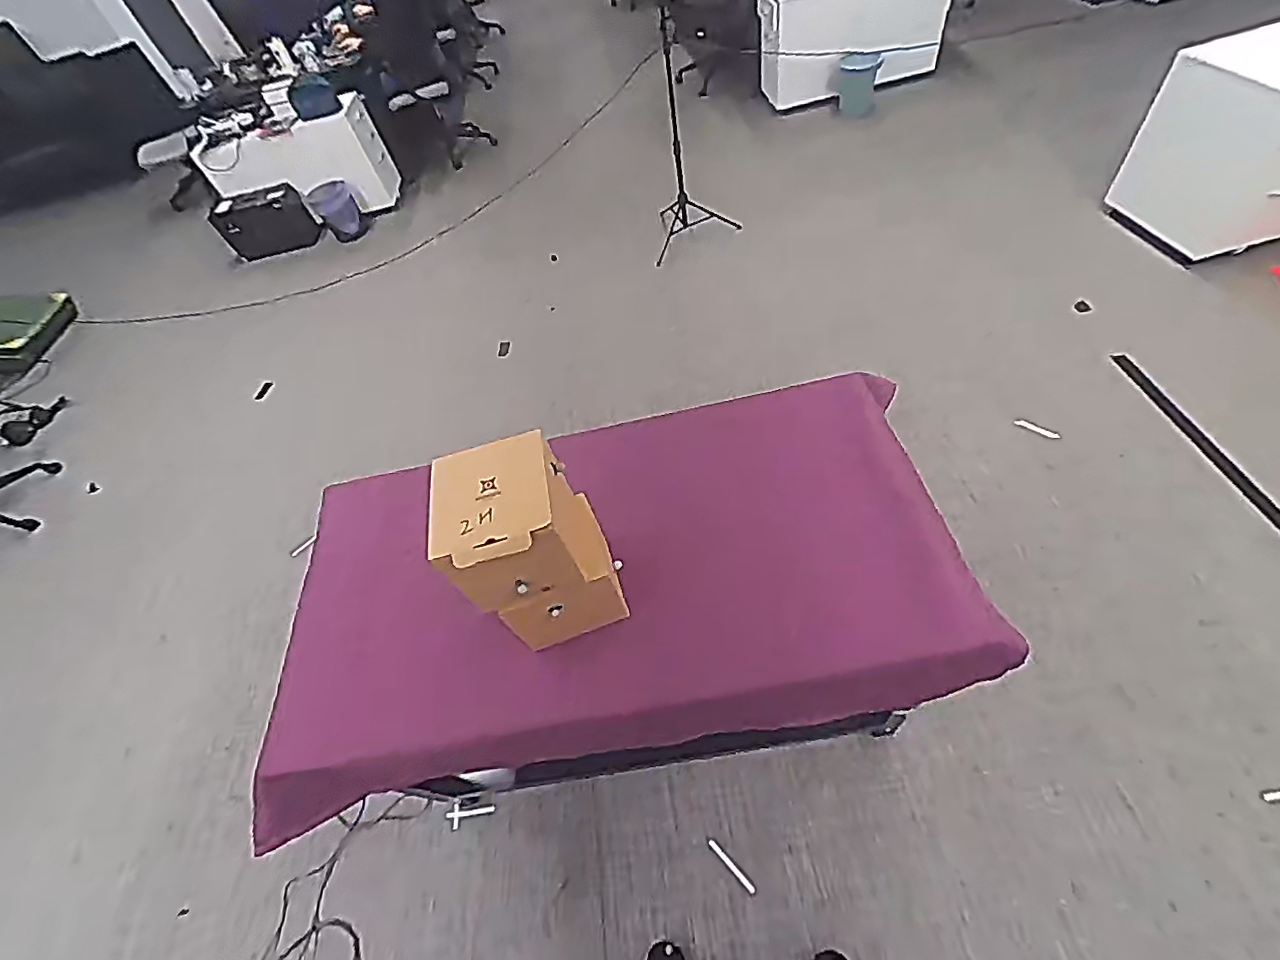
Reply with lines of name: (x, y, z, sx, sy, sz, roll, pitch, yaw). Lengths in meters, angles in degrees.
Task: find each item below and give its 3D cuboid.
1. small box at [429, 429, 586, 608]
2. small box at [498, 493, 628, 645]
small box: (-0.187, 0.060, 0.787, 0.168, 0.176, 0.179, -16, 53, 2)
small box: (-0.135, 0.156, 0.913, 0.179, 0.176, 0.168, -20, 53, -3)
